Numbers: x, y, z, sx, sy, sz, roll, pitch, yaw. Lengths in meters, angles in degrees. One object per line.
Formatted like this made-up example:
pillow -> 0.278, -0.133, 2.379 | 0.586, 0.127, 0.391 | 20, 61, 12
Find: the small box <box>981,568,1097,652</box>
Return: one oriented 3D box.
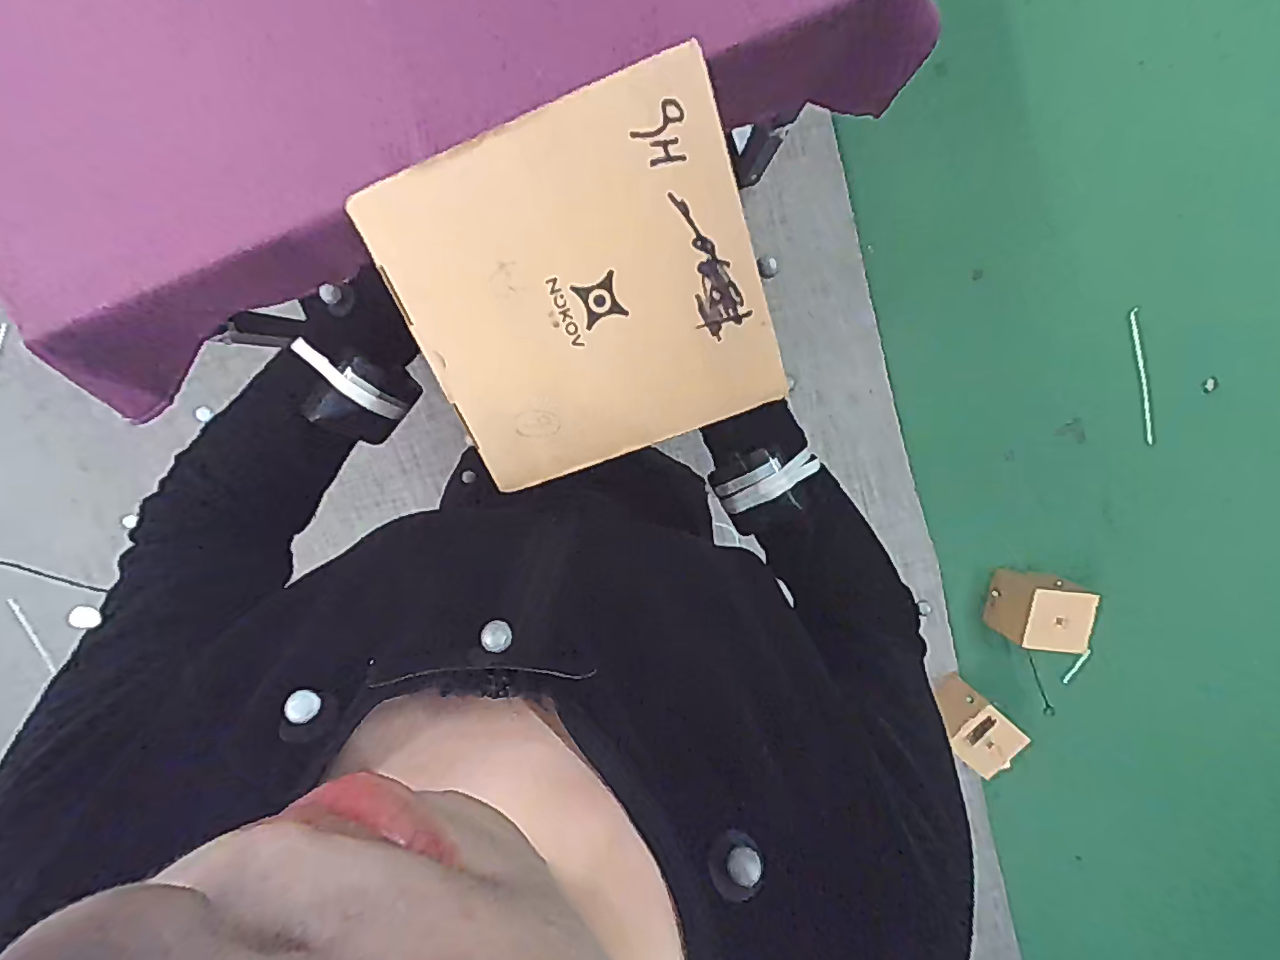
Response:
small box -> 1.089, 0.353, 1.489 | 0.179, 0.176, 0.168 | 7, 100, -2
